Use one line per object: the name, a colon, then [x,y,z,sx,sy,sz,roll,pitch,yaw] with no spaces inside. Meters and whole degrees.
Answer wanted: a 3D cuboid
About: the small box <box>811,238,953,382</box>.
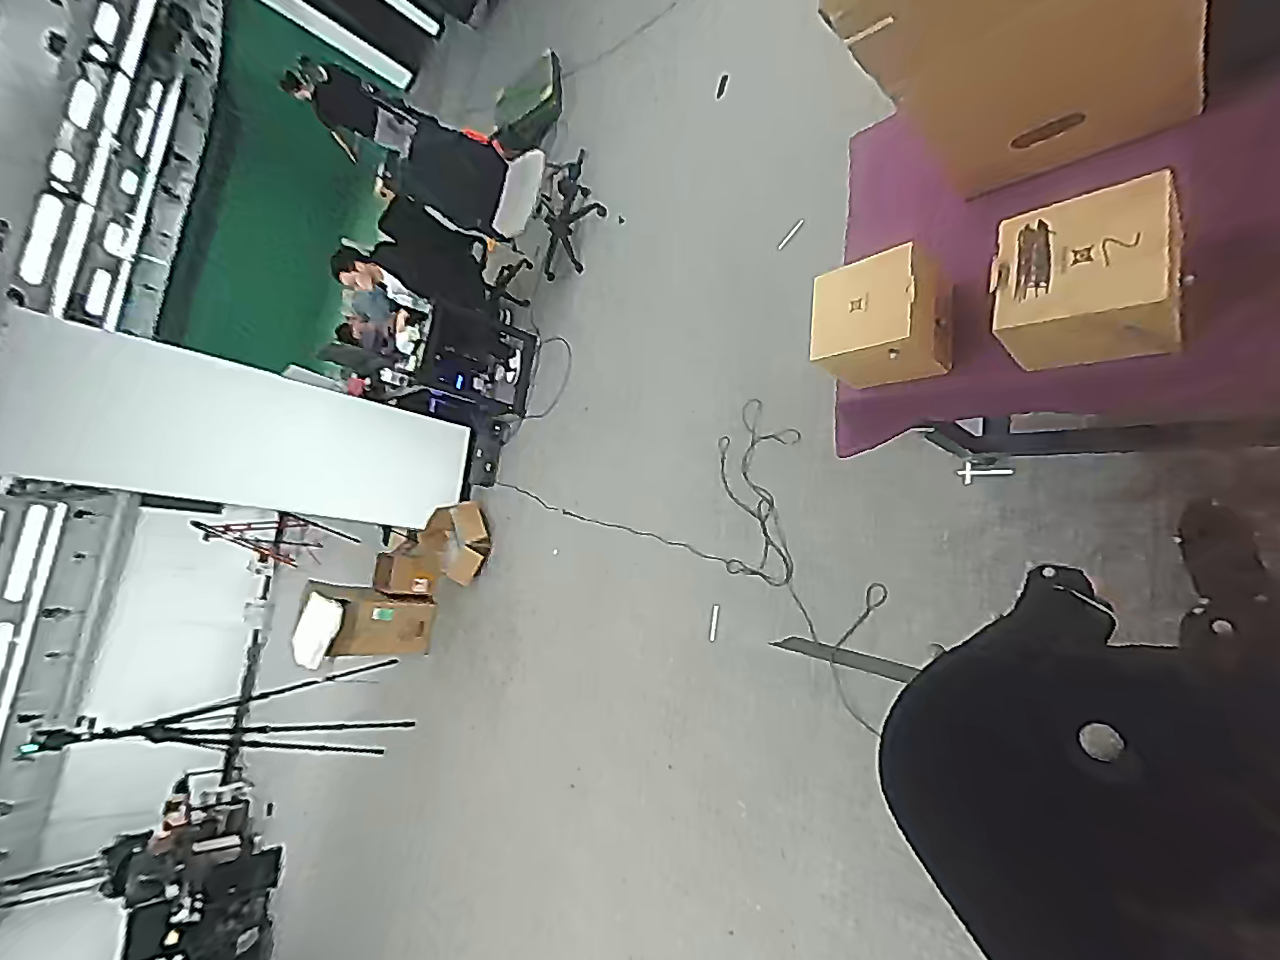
small box: [0.427,-0.284,0.955,0.179,0.176,0.168,-5,76,48]
